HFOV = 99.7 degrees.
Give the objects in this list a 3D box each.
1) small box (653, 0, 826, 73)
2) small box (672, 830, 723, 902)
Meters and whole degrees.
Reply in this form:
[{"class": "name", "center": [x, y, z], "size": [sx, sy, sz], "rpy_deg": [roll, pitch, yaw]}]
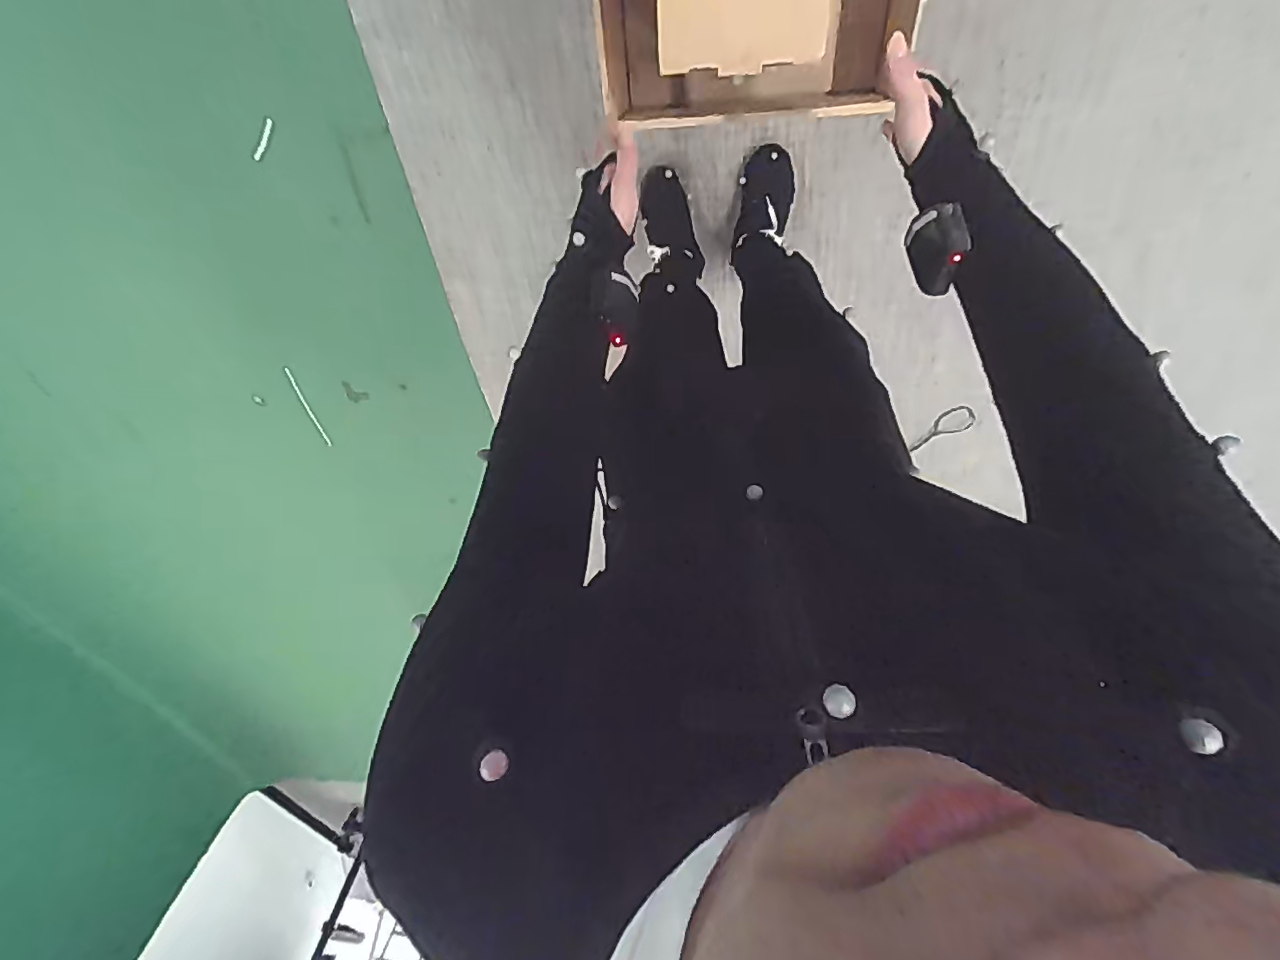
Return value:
[{"class": "small box", "center": [0.102, -0.533, 0.547], "size": [0.168, 0.176, 0.179], "rpy_deg": [1, 130, 8]}, {"class": "small box", "center": [0.211, 1.383, 1.941], "size": [0.168, 0.176, 0.179], "rpy_deg": [-2, 129, 12]}]
